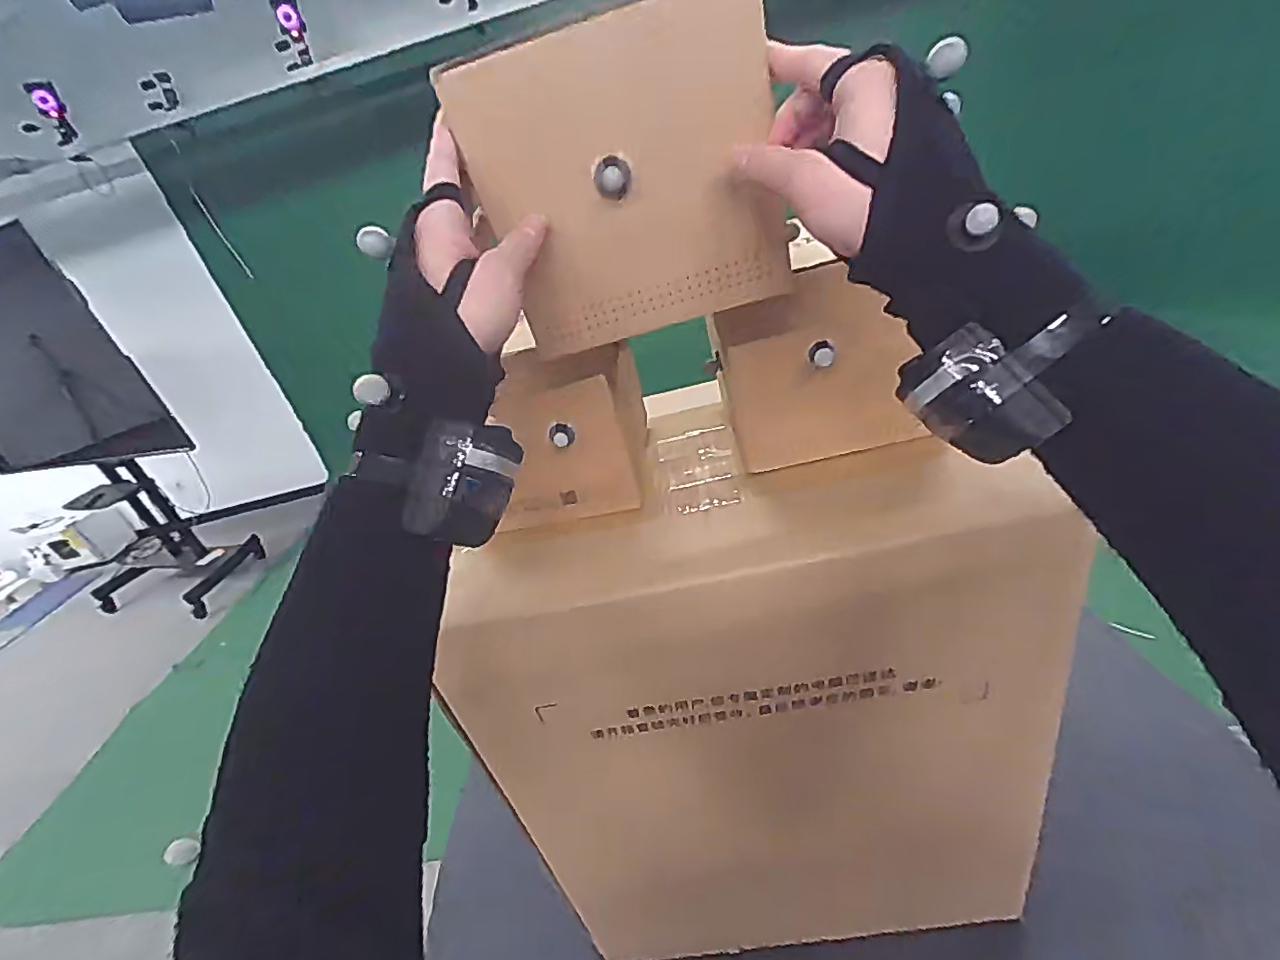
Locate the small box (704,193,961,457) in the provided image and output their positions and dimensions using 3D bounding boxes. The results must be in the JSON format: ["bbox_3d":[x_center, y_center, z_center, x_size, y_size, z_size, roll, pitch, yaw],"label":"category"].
[{"bbox_3d":[0.159,-0.139,0.488,0.179,0.176,0.168,-14,32,5],"label":"small box"}]

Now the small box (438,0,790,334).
[{"bbox_3d":[-0.003,-0.222,0.375,0.179,0.176,0.168,-14,31,6],"label":"small box"}]

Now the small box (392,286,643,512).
[{"bbox_3d":[-0.092,-0.082,0.511,0.168,0.176,0.179,-9,31,6],"label":"small box"}]
